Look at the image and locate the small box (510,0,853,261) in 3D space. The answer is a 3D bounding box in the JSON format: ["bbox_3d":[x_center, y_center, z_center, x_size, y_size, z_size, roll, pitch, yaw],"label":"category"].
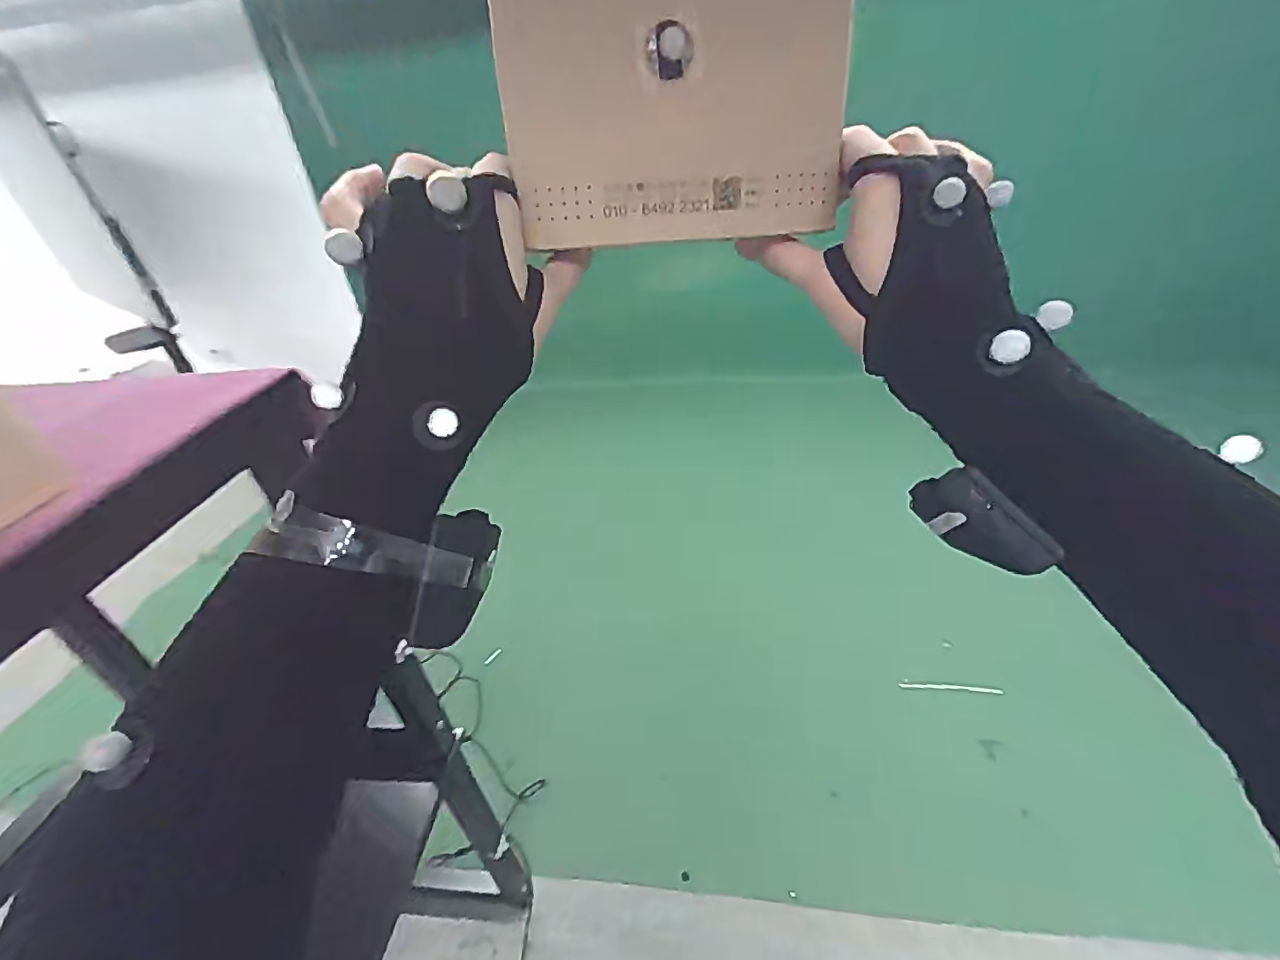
[{"bbox_3d":[0.015,-0.230,0.326,0.168,0.176,0.179,-6,23,-6],"label":"small box"}]
